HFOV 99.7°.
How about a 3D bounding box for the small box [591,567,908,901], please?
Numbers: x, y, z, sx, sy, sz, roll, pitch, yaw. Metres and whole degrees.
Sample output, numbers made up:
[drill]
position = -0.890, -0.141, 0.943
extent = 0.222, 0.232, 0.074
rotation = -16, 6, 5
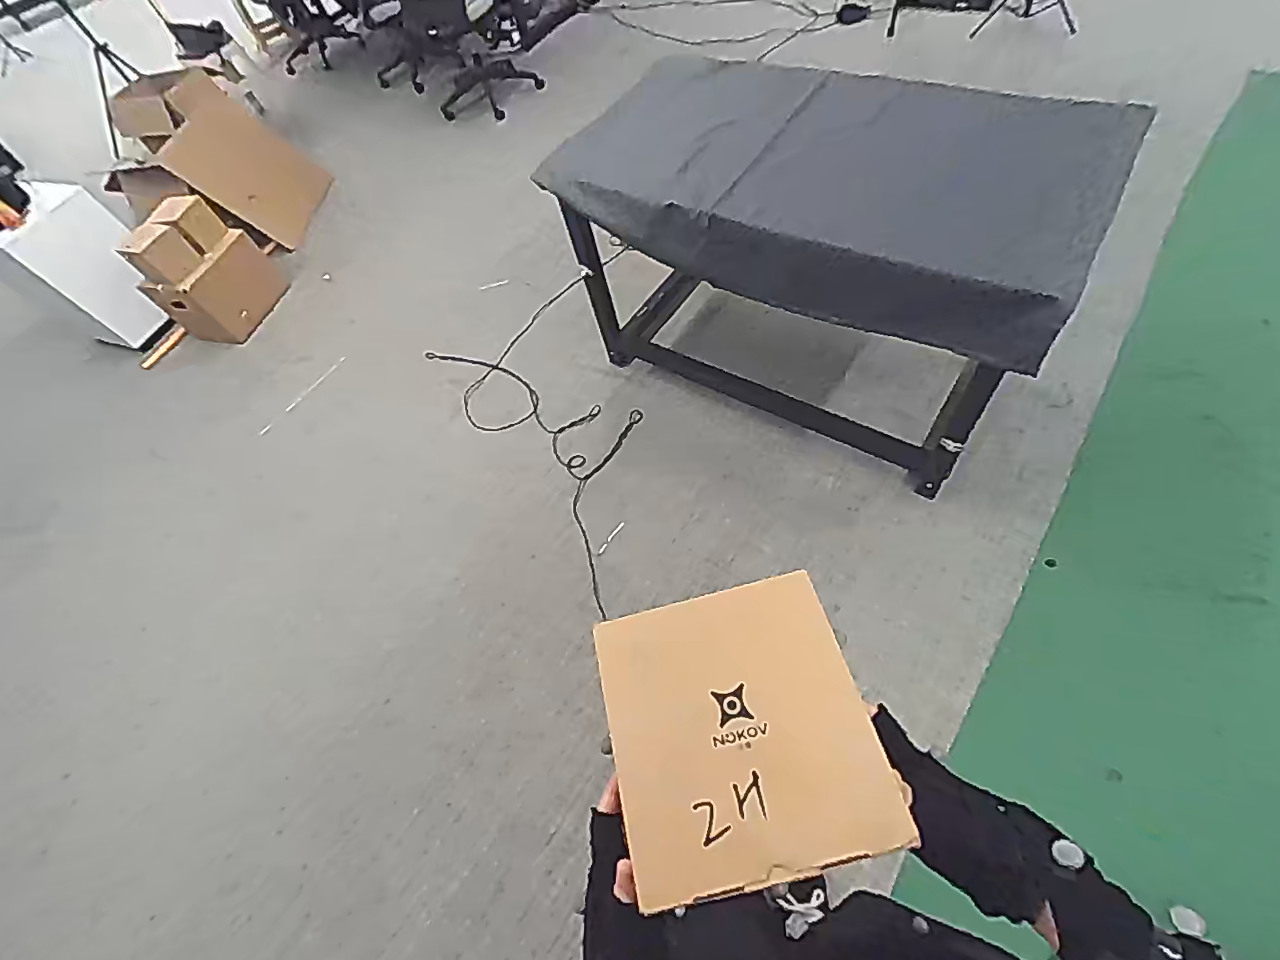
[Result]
[small box]
position = 0.069, 0.195, 0.418
extent = 0.168, 0.176, 0.179
rotation = -15, 56, 1
